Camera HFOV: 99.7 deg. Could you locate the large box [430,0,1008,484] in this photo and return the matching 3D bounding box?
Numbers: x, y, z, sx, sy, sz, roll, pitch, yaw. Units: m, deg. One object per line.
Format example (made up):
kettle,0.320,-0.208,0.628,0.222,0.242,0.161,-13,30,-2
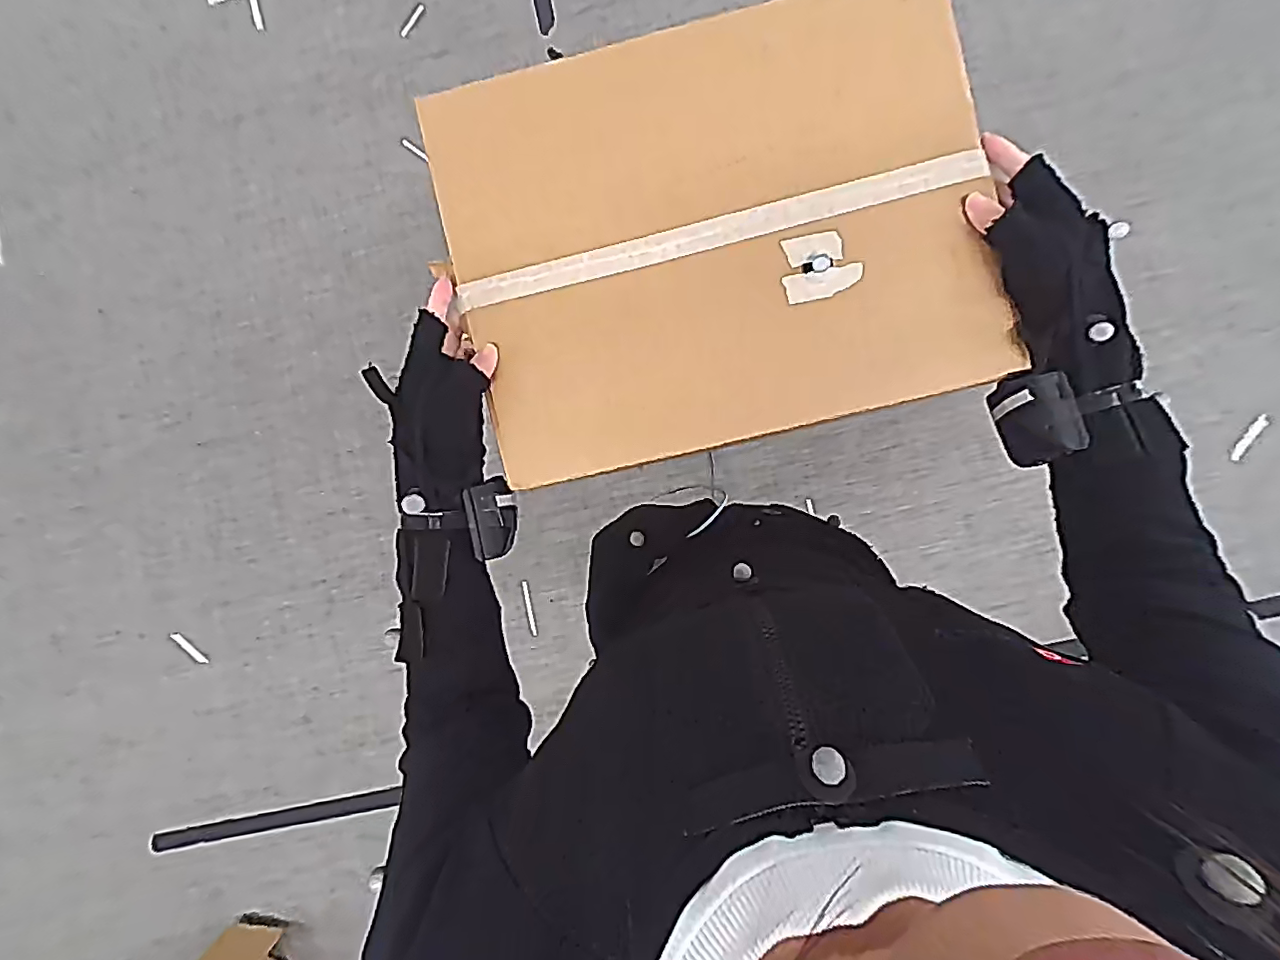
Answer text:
large box,0.063,-0.195,0.572,0.408,0.320,0.320,-14,92,2
